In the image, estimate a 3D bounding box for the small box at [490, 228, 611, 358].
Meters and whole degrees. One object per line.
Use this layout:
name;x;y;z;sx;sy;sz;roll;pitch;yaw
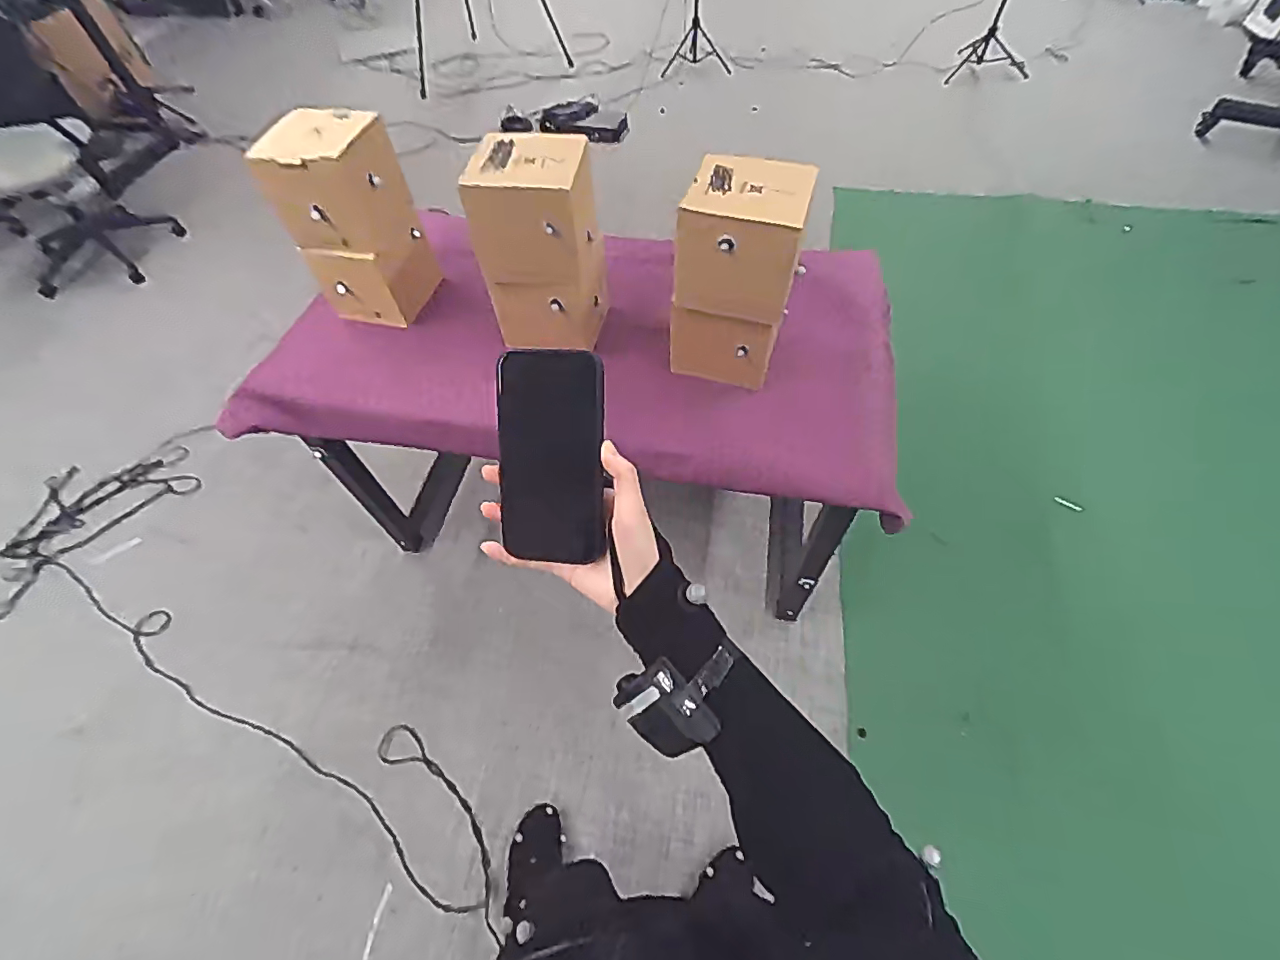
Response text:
small box;-0.162;-0.359;1.050;0.179;0.176;0.168;10;57;9

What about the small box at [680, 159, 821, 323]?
small box;0.165;-0.369;0.844;0.179;0.176;0.168;15;58;12

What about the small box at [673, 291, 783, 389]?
small box;0.167;-0.291;0.989;0.179;0.176;0.168;15;58;13

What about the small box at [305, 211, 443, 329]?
small box;-0.537;-0.439;1.125;0.168;0.176;0.179;10;57;10

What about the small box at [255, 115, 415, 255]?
small box;-0.542;-0.538;0.993;0.168;0.176;0.179;6;57;6
